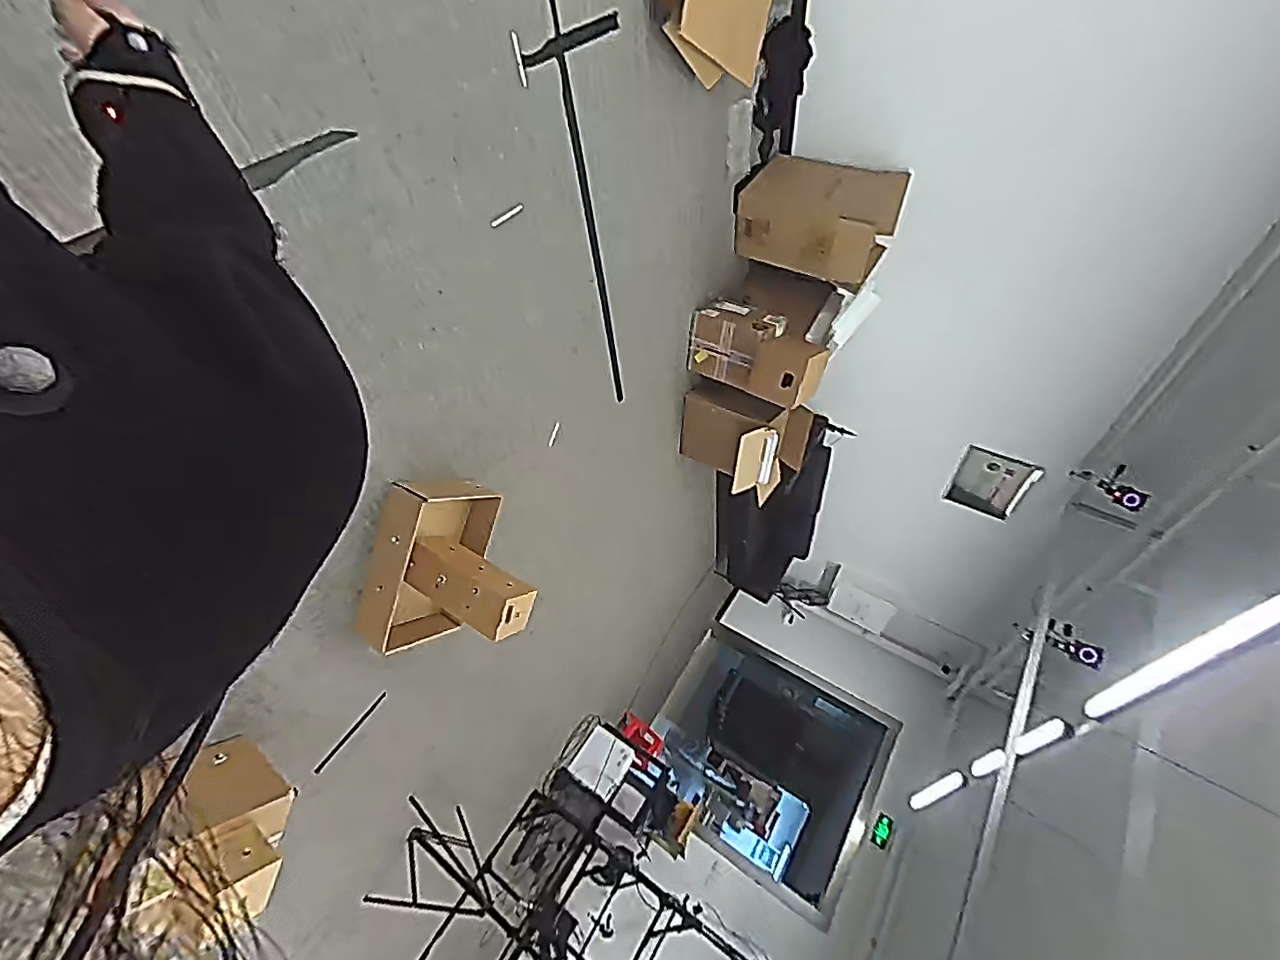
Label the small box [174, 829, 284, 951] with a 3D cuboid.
[{"bbox_3d":[-1.114,1.091,1.464,0.168,0.176,0.179,9,104,-65],"label":"small box"}]

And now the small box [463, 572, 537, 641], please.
[{"bbox_3d":[-0.506,0.447,1.946,0.179,0.176,0.168,-3,114,-65],"label":"small box"}]

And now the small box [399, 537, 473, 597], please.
[{"bbox_3d":[-0.781,0.326,2.073,0.179,0.176,0.168,4,108,-64],"label":"small box"}]

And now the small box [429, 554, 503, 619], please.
[{"bbox_3d":[-0.646,0.388,2.009,0.179,0.176,0.168,1,110,-63],"label":"small box"}]
